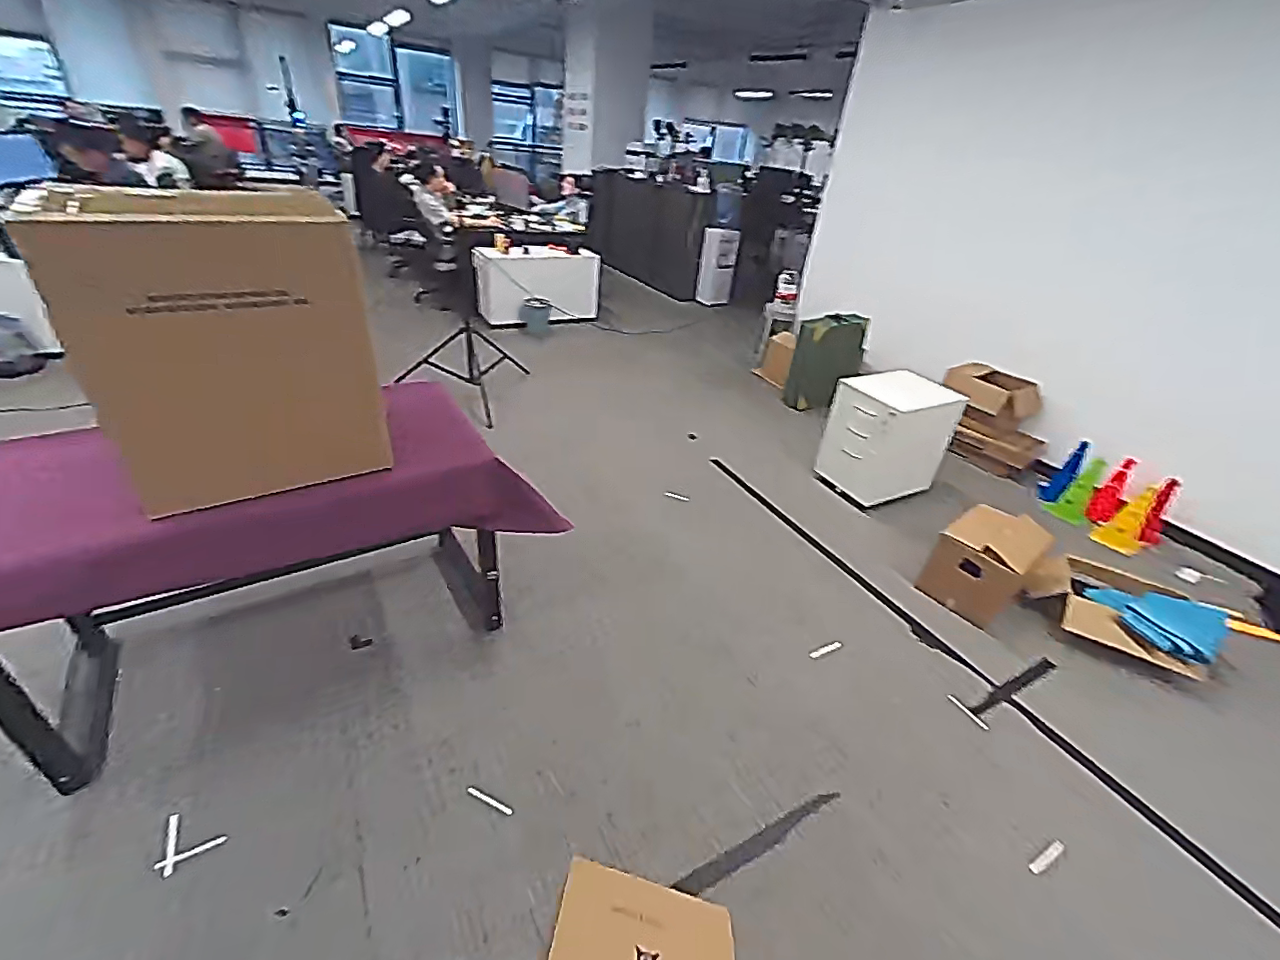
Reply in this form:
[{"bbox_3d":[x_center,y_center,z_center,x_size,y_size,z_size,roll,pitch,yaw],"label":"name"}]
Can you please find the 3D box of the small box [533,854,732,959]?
[{"bbox_3d":[-0.023,0.475,0.452,0.168,0.176,0.179,18,4,1],"label":"small box"}]
